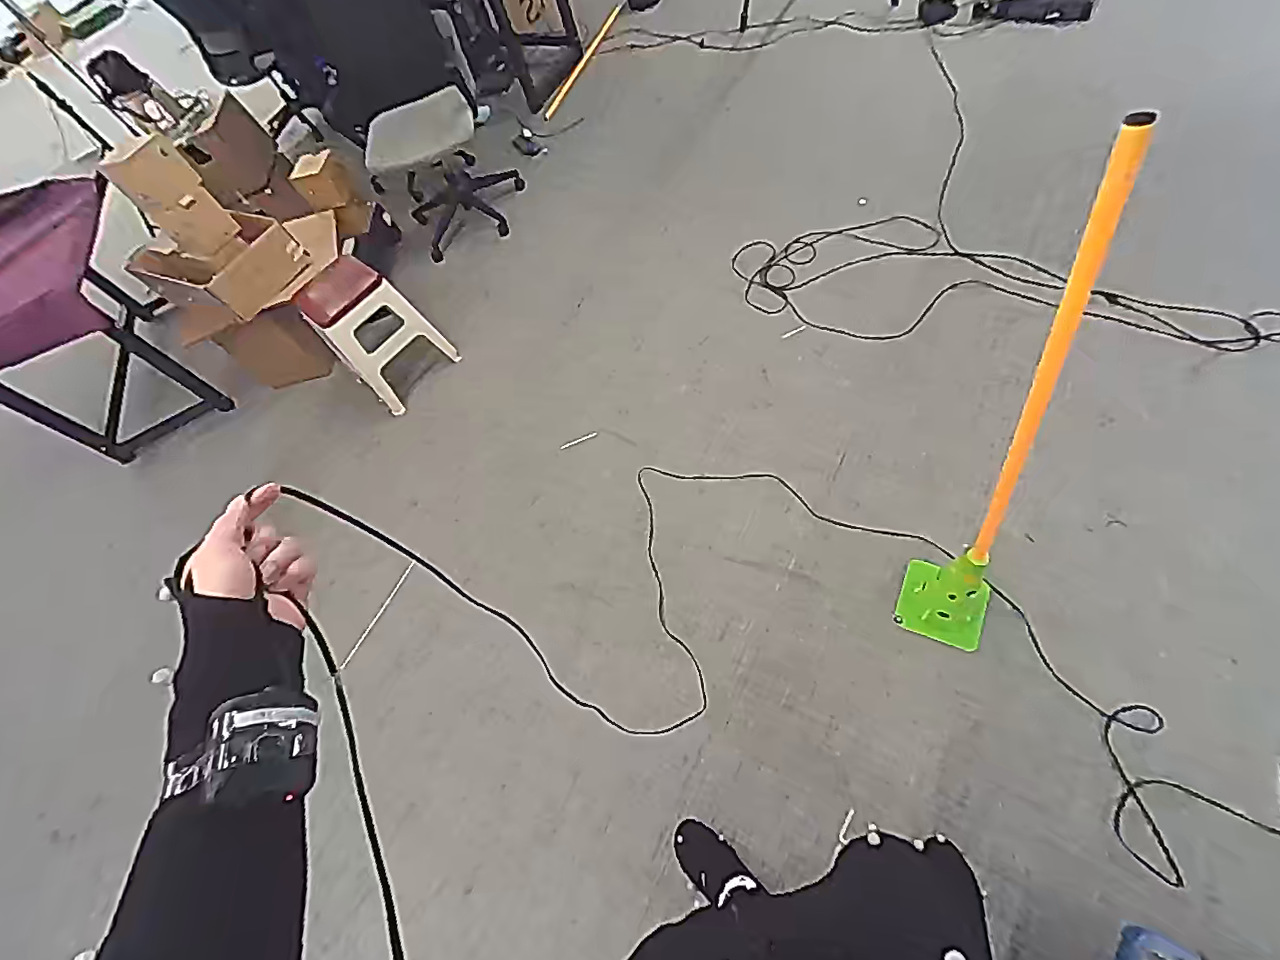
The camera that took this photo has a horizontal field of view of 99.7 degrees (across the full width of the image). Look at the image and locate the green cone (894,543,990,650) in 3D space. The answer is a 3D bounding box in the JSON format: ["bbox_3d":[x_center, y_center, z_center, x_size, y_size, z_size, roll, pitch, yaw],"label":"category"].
[{"bbox_3d":[0.754,0.241,1.277,0.200,0.368,0.202,17,66,24],"label":"green cone"}]
